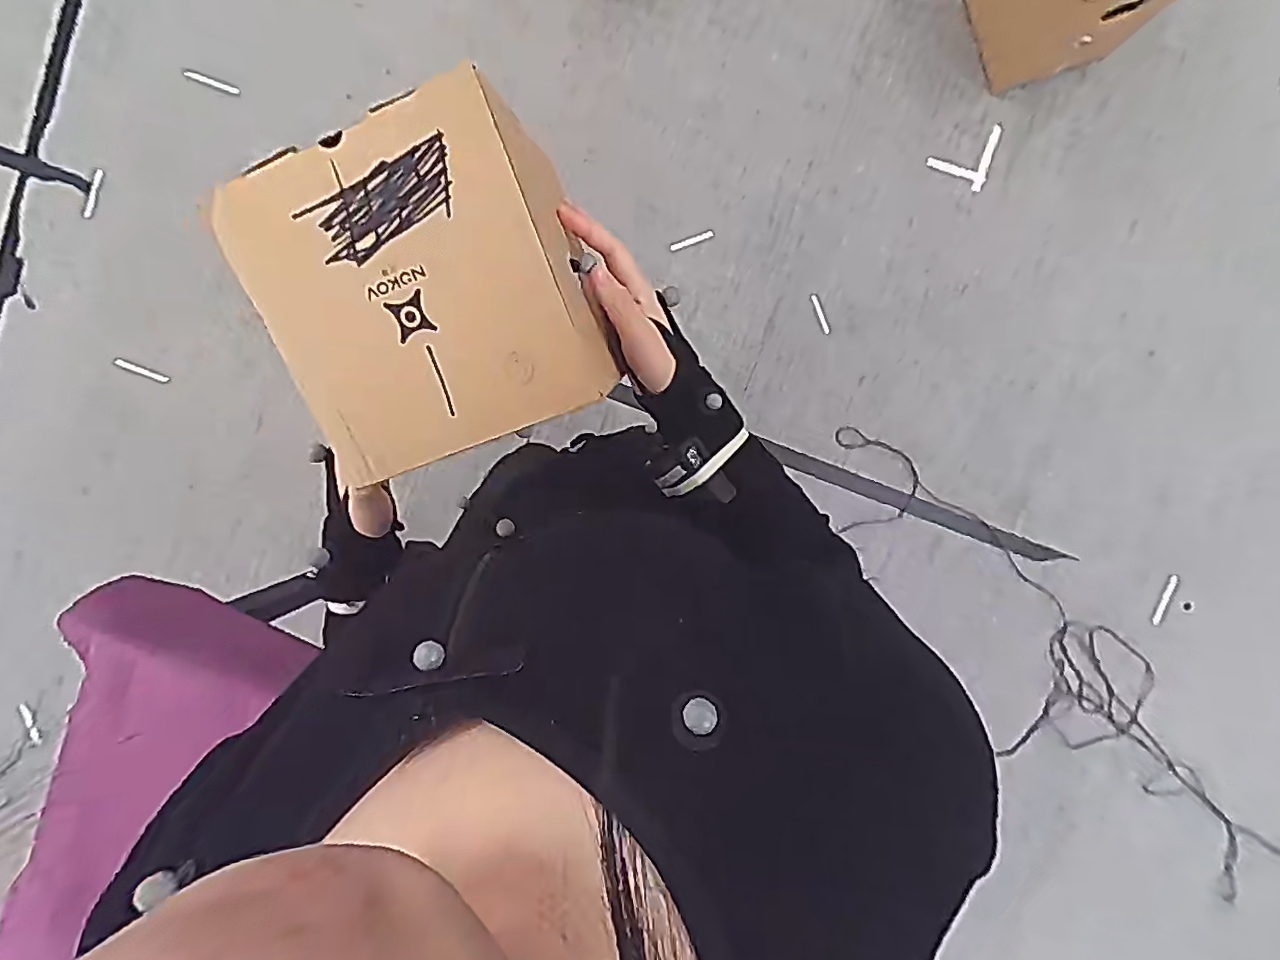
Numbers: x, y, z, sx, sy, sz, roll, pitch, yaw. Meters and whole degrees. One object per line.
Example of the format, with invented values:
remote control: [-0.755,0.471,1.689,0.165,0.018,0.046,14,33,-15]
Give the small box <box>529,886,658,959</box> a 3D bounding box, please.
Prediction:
small box: [-0.076,0.707,0.730,0.168,0.176,0.179,19,94,0]

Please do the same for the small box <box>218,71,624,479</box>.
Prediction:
small box: [-0.118,-0.123,0.374,0.168,0.176,0.179,-17,105,9]
